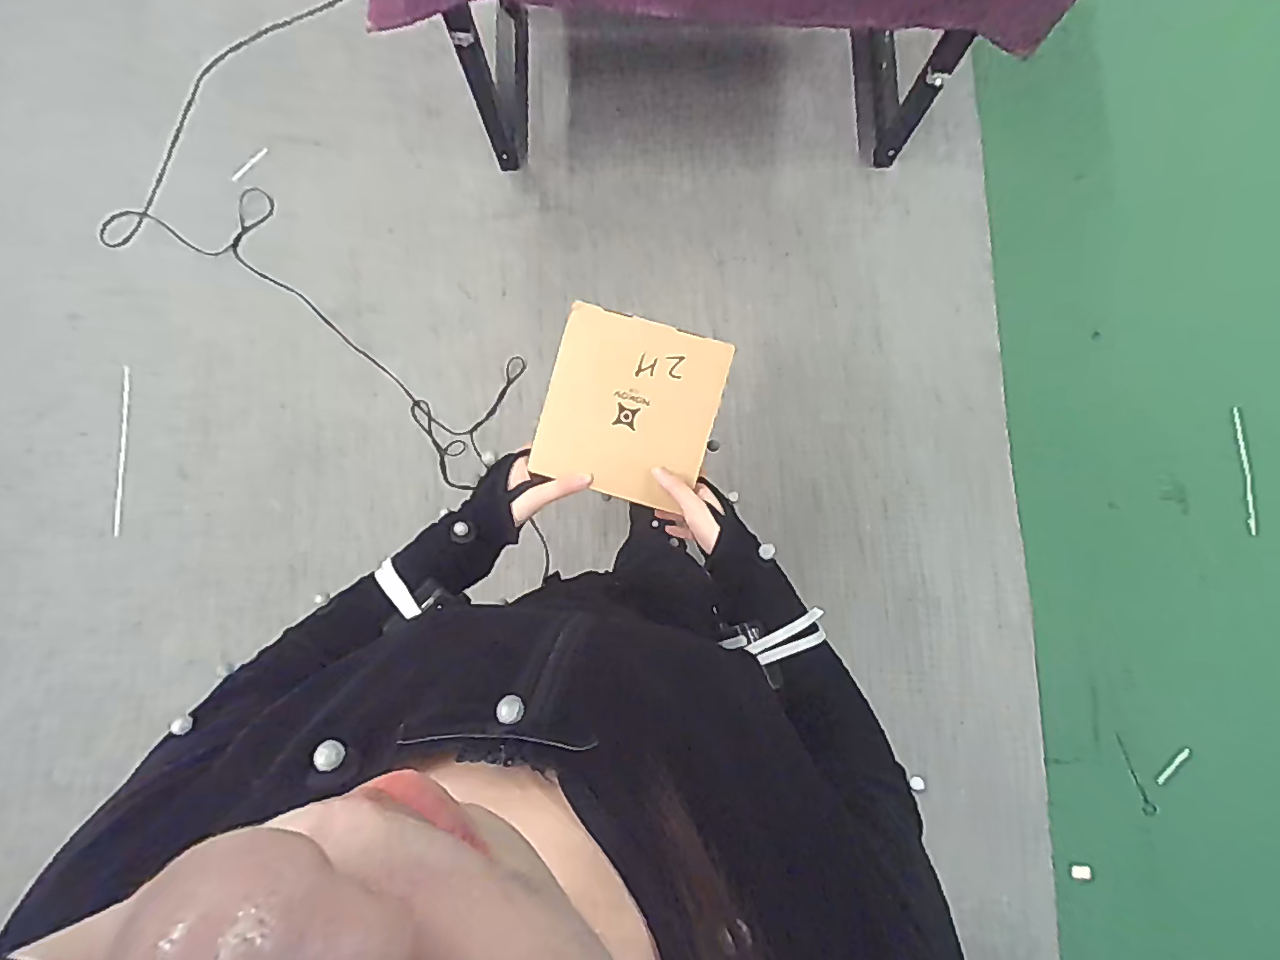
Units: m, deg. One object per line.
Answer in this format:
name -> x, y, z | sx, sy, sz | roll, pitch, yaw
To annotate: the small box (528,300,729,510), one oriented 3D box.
small box -> -0.009, -0.078, 0.620 | 0.168, 0.176, 0.179 | 17, 93, 1
